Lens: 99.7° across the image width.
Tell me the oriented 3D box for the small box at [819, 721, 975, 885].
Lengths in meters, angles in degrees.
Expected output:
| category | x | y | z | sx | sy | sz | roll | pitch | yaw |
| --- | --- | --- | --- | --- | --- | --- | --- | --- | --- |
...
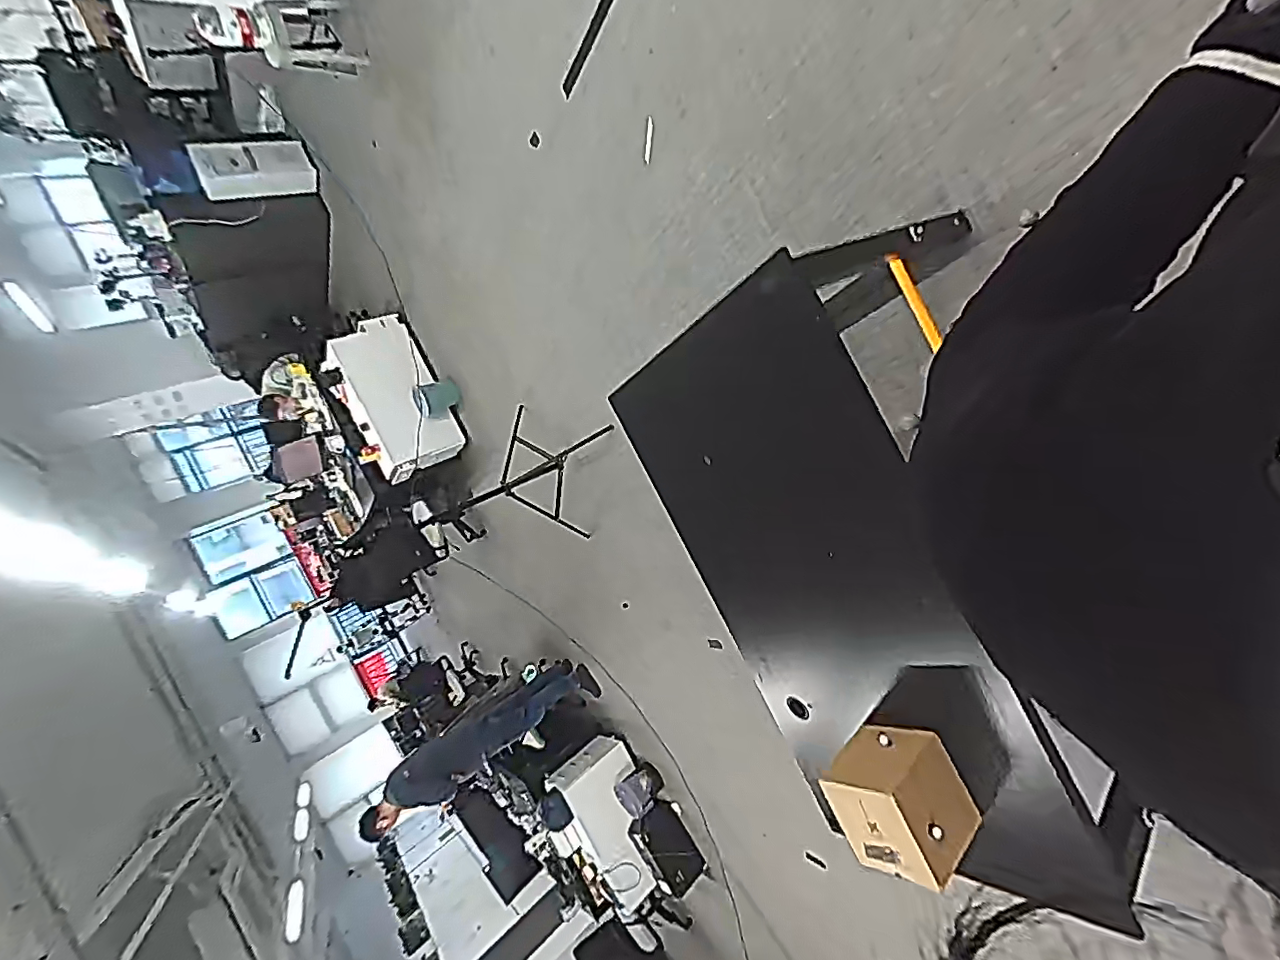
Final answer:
| category | x | y | z | sx | sy | sz | roll | pitch | yaw |
| --- | --- | --- | --- | --- | --- | --- | --- | --- | --- |
| small box | 0.475 | 0.578 | 0.996 | 0.168 | 0.176 | 0.179 | -30 | 86 | 56 |
